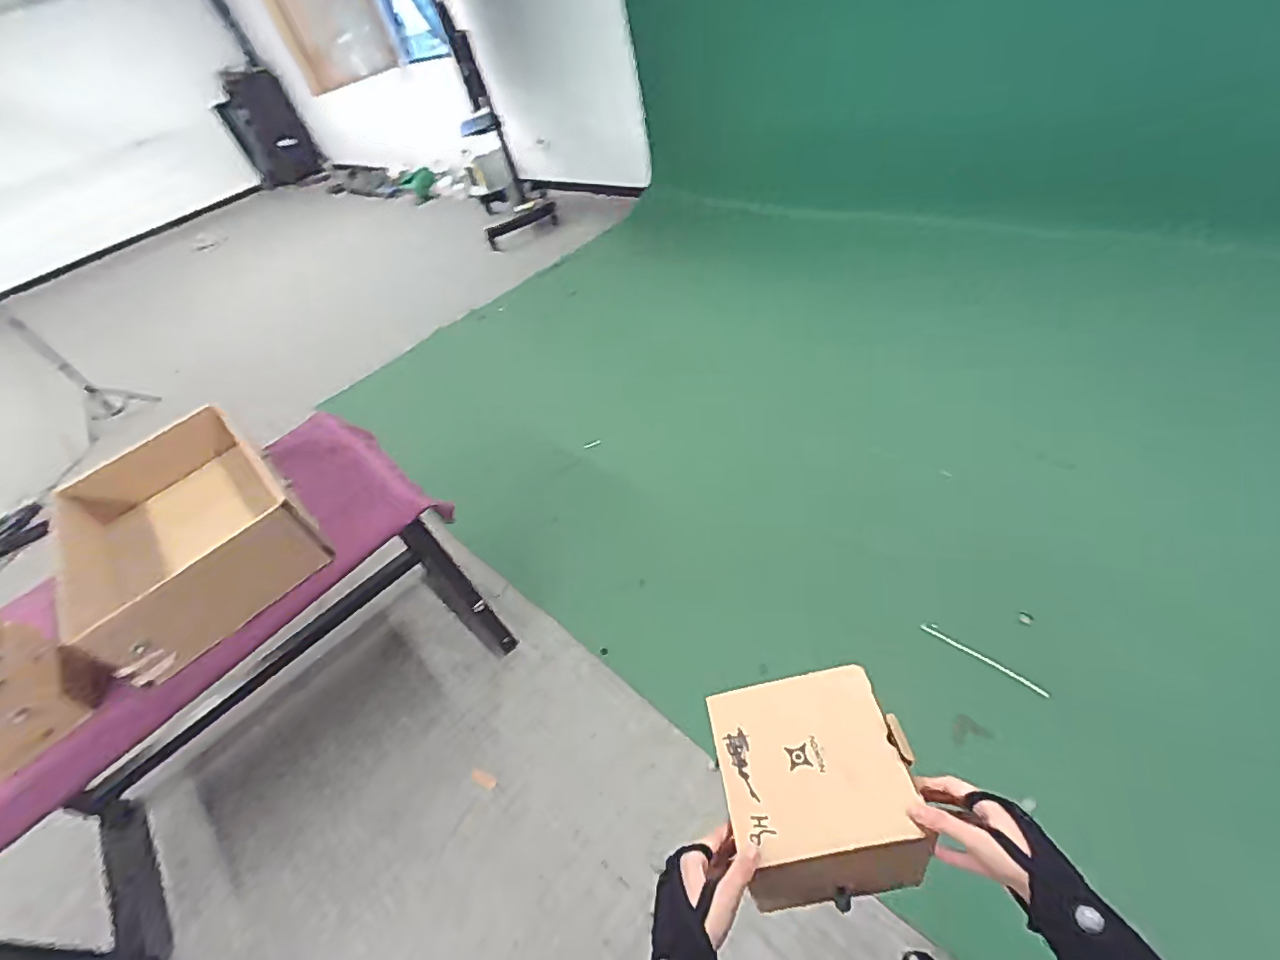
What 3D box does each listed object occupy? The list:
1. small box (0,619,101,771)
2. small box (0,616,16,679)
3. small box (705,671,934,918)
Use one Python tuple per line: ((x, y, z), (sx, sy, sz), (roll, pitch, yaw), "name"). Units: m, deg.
((-1.146, 0.398, 0.989), (0.168, 0.176, 0.179), (-40, 47, -23), "small box")
((-1.179, 0.291, 0.868), (0.179, 0.176, 0.168), (-40, 47, -23), "small box")
((0.178, 0.335, 0.577), (0.179, 0.176, 0.168), (-14, 38, 4), "small box")
